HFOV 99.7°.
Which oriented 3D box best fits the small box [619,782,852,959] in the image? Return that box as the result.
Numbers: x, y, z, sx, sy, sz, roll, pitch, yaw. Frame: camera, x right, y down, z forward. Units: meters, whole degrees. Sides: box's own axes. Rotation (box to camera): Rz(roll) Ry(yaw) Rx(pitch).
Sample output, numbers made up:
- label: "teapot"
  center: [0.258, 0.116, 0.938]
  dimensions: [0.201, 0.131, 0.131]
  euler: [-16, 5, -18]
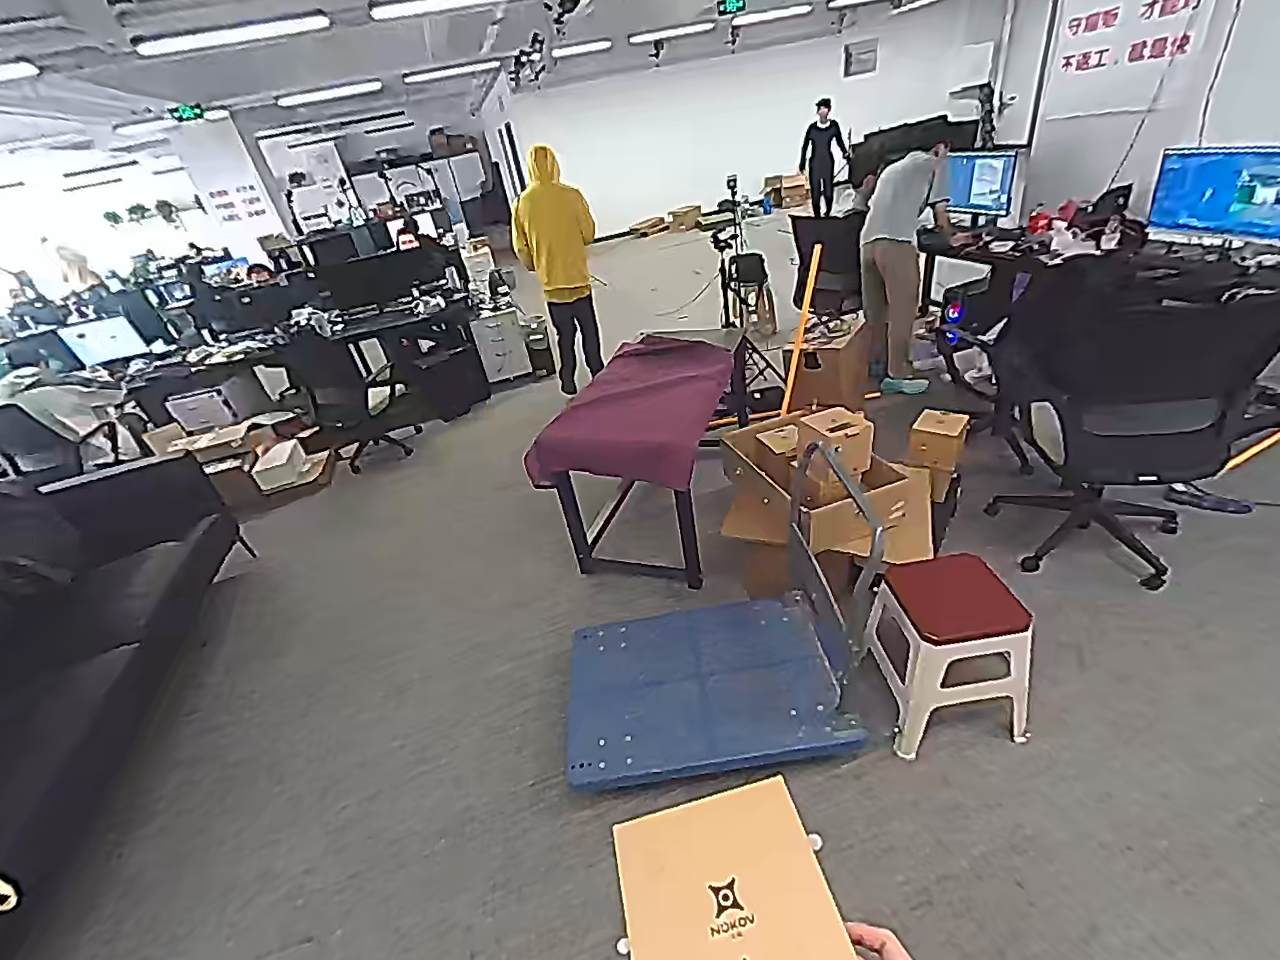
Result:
- label: "small box"
  center: [0.084, 0.414, 0.483]
  dimensions: [0.168, 0.176, 0.179]
  euler: [-14, 35, -2]
